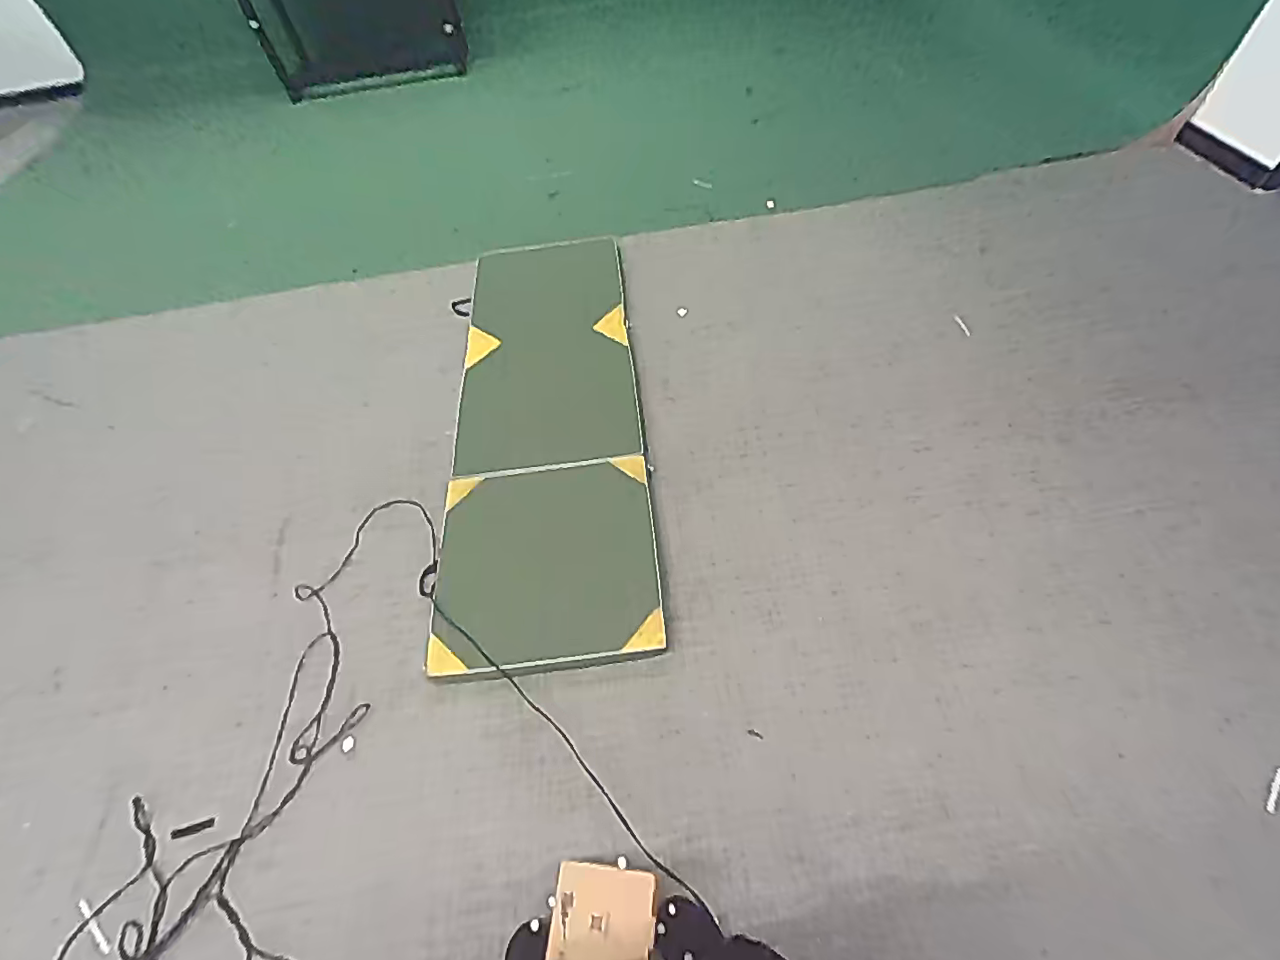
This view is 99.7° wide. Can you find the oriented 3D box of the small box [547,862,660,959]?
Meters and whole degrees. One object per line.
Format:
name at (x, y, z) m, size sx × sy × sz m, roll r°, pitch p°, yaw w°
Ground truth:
small box at (-0.058, 0.805, 0.981) m, size 0.179 × 0.176 × 0.168 m, roll 3°, pitch 55°, yaw 8°
